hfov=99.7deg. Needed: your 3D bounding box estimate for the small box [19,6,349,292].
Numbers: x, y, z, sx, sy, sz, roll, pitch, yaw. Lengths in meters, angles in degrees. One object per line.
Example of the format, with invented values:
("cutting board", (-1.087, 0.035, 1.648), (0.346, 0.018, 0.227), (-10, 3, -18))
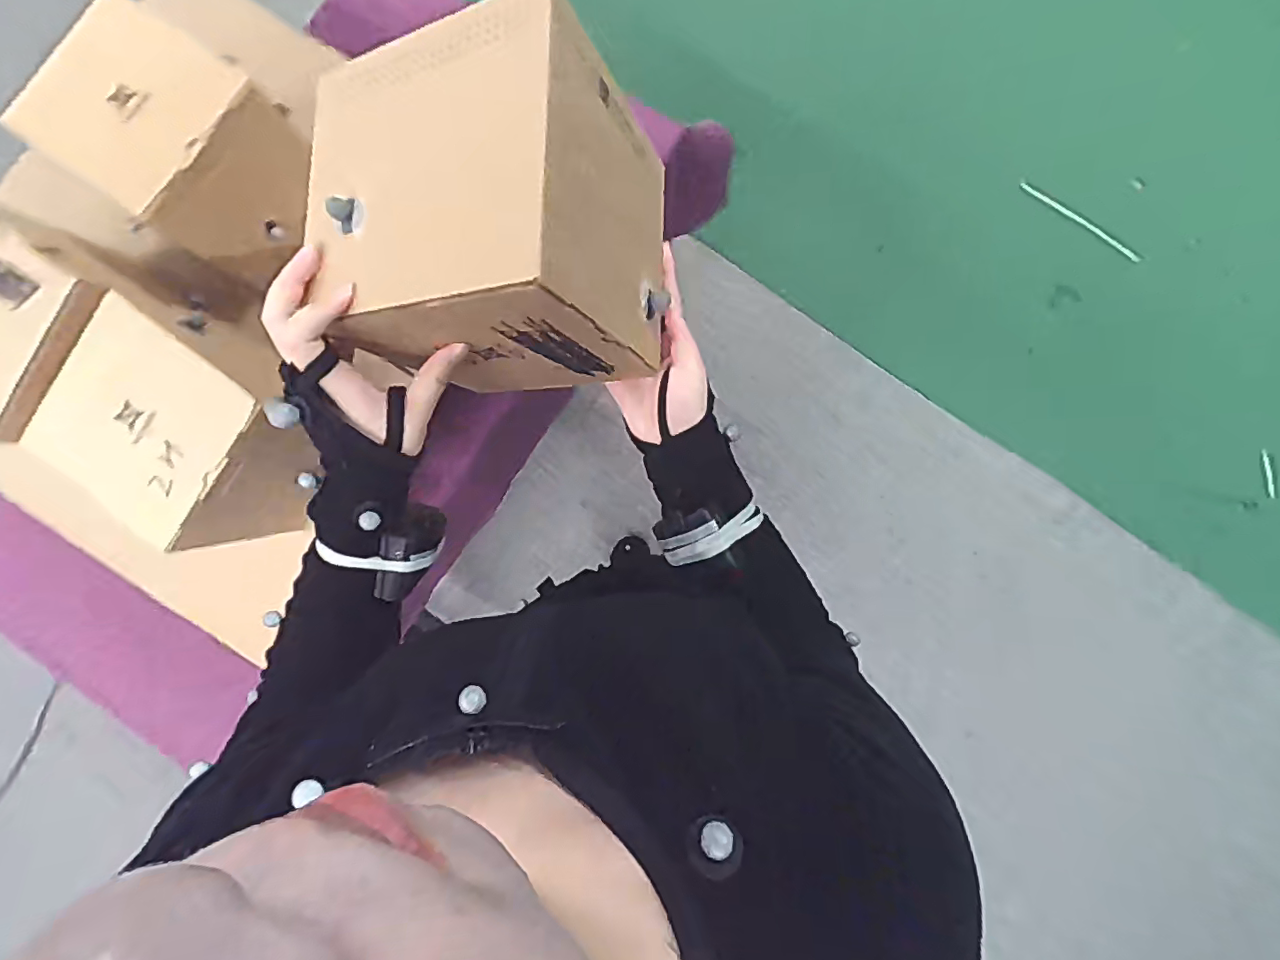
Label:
("small box", (-0.471, -0.339, 0.590), (0.179, 0.176, 0.168), (34, 86, 4))
